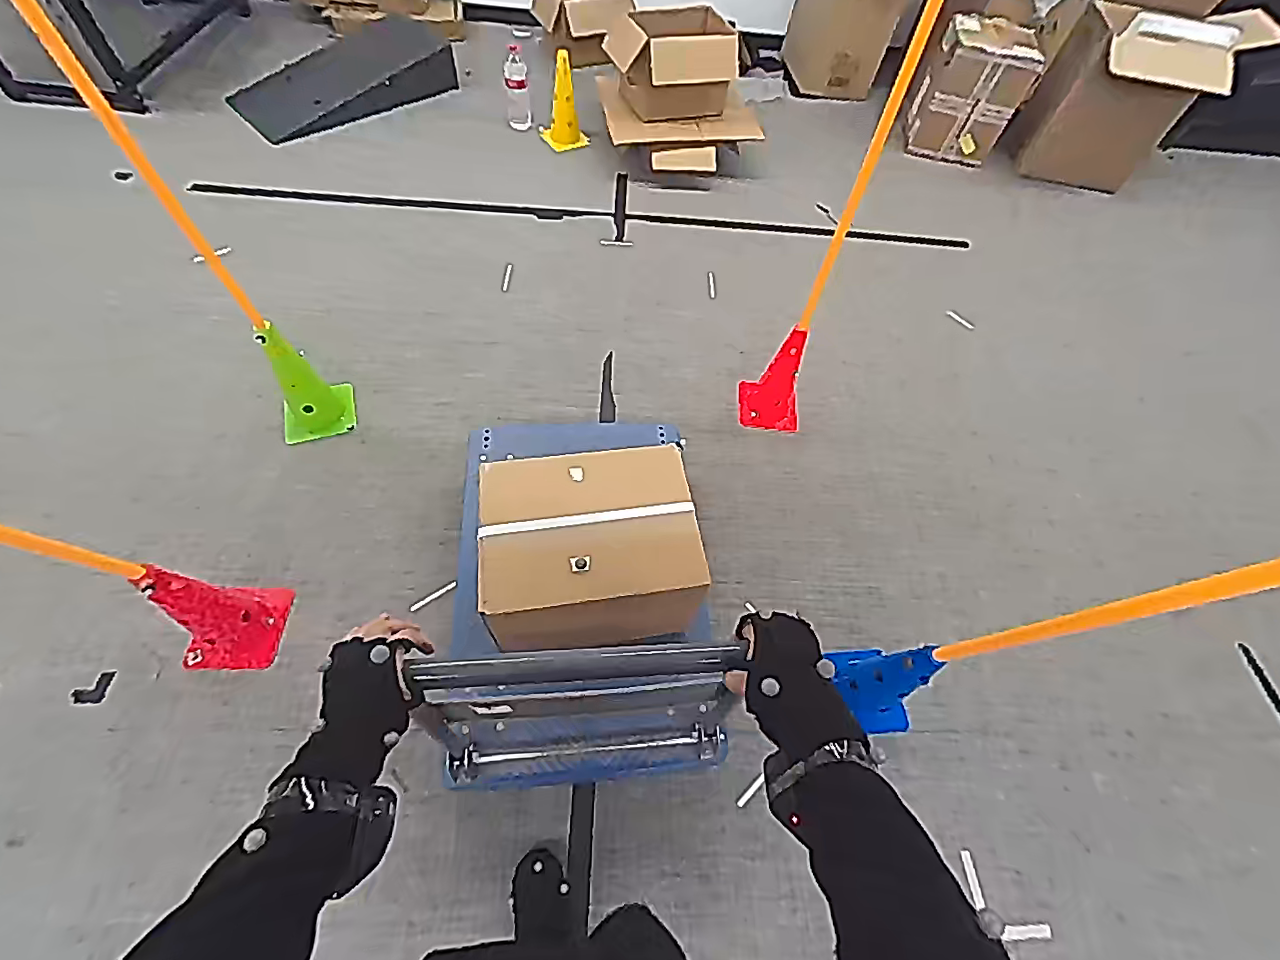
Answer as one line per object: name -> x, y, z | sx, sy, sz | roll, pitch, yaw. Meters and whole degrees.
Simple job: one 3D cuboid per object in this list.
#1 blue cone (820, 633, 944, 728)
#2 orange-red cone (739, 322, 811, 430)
blue cone -> 0.577, 0.433, 1.229 | 0.193, 0.380, 0.192 | -1, 57, -6
orange-red cone -> 0.454, -0.346, 1.684 | 0.199, 0.360, 0.198 | 9, 58, -1
